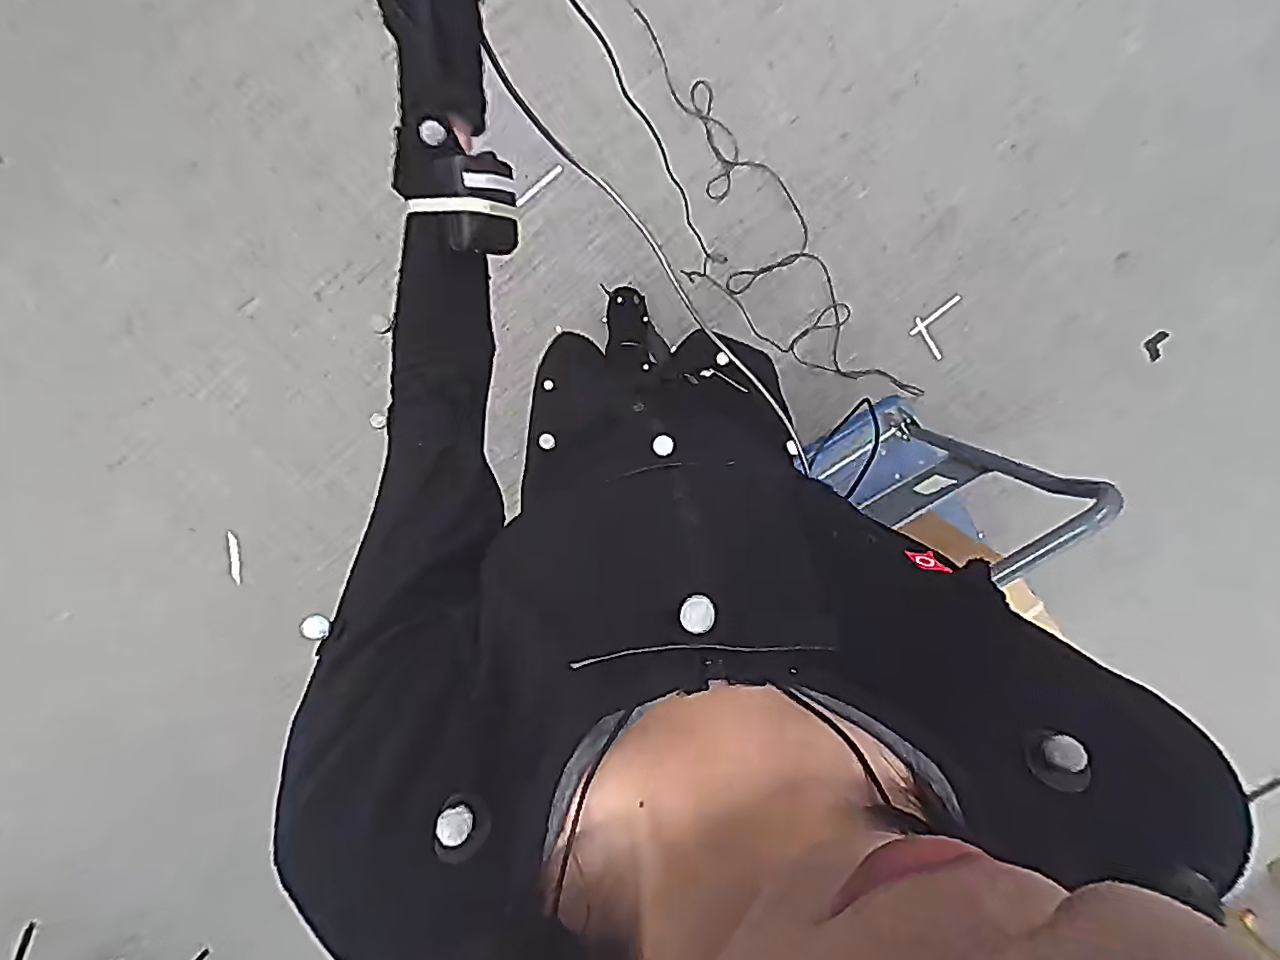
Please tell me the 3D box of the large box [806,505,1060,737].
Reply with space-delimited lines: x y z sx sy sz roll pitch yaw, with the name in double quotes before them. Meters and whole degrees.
"large box" 0.708 0.339 1.364 0.408 0.320 0.320 -41 105 10
